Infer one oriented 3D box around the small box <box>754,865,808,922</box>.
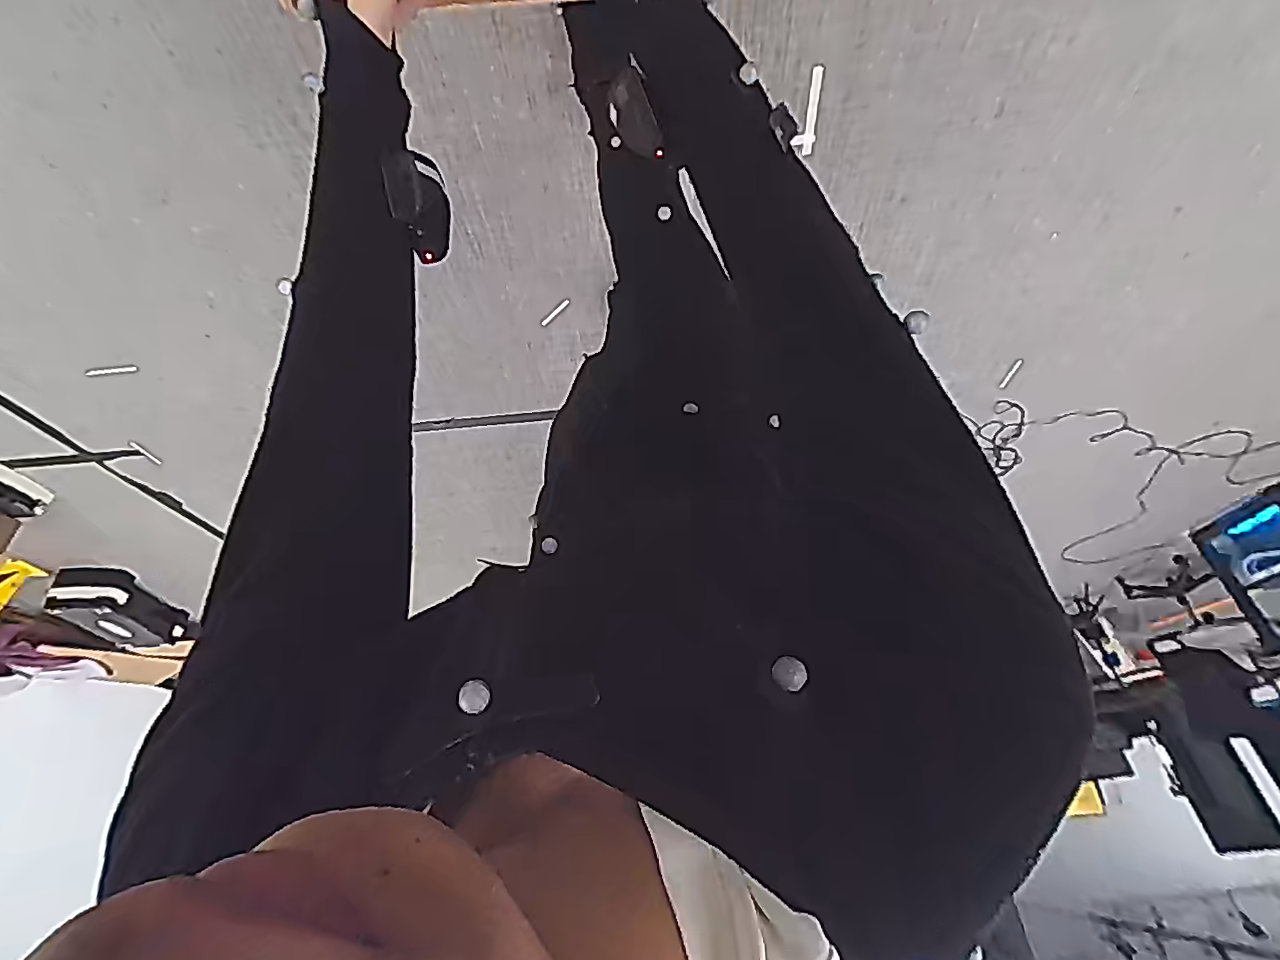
[{"bbox_3d":[0.567,1.676,2.197,0.179,0.176,0.168,-7,147,3],"label":"small box"}]
